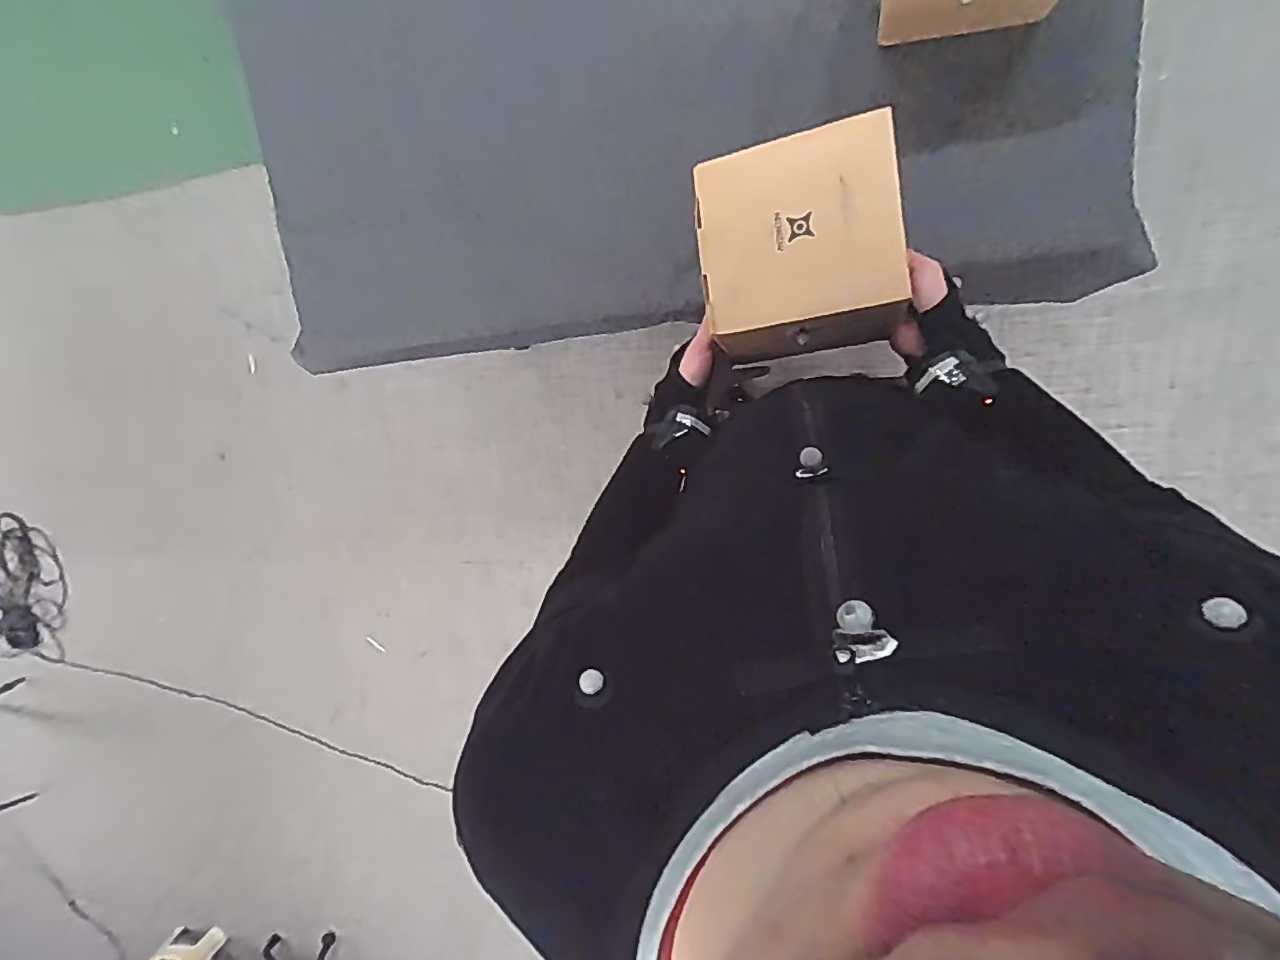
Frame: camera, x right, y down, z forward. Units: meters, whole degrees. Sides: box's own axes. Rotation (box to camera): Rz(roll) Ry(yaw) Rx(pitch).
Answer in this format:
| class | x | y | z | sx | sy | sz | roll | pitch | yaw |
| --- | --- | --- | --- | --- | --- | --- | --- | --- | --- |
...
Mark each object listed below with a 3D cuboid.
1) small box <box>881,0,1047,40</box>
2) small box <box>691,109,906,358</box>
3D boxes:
| class | x | y | z | sx | sy | sz | roll | pitch | yaw |
| --- | --- | --- | --- | --- | --- | --- | --- | --- | --- |
| small box | 0.348 | -0.583 | 0.540 | 0.179 | 0.176 | 0.168 | 3 | 105 | 15 |
| small box | 0.162 | -0.232 | 0.563 | 0.179 | 0.176 | 0.168 | -7 | 91 | 17 |
